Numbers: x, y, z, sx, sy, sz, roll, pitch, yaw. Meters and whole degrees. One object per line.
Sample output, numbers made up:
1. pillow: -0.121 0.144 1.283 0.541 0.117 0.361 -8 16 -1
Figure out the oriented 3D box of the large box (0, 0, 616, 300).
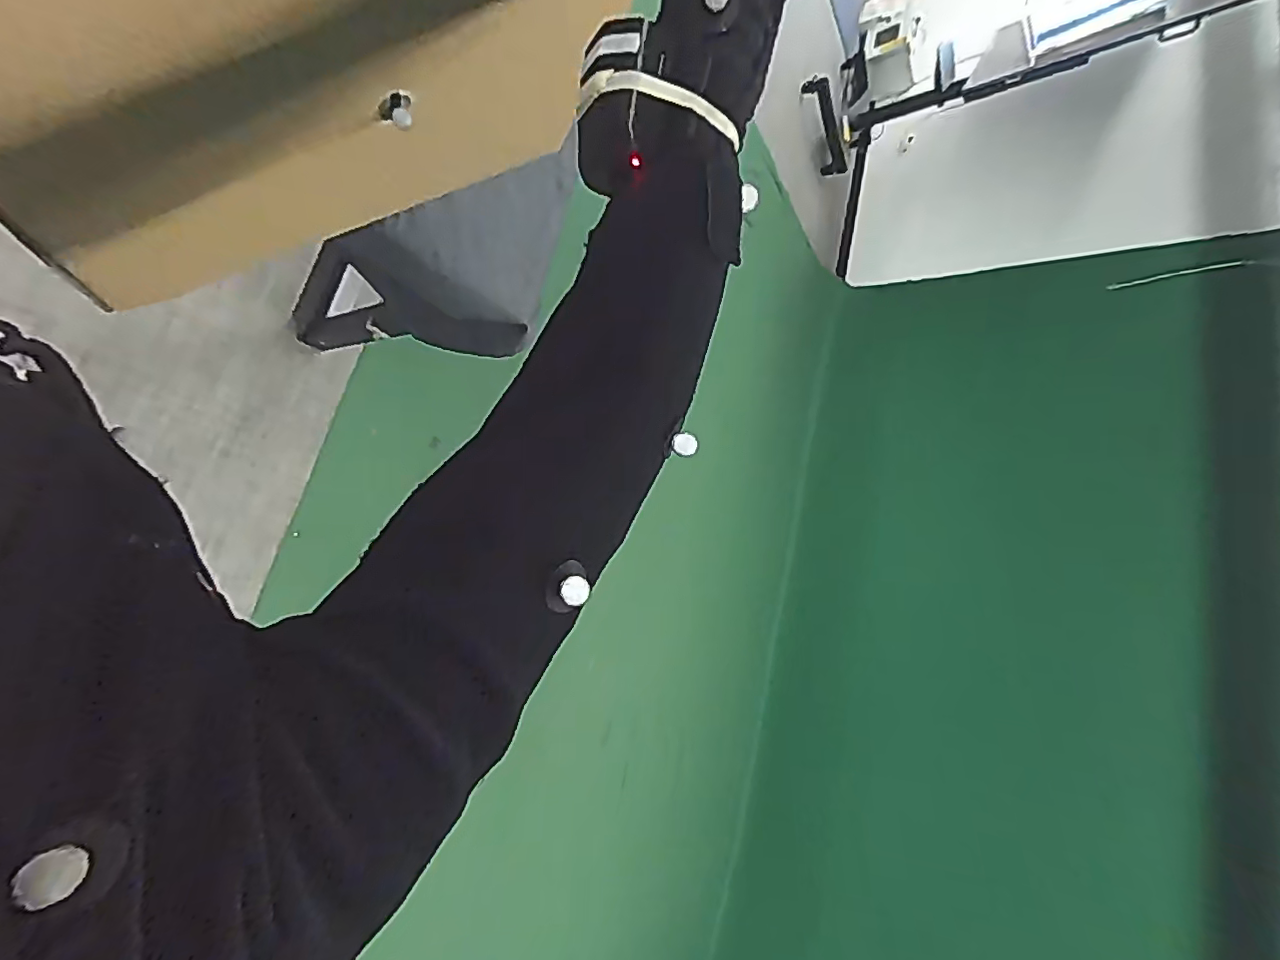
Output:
1. large box: -0.238 -0.373 0.314 0.408 0.320 0.320 -40 103 -24
